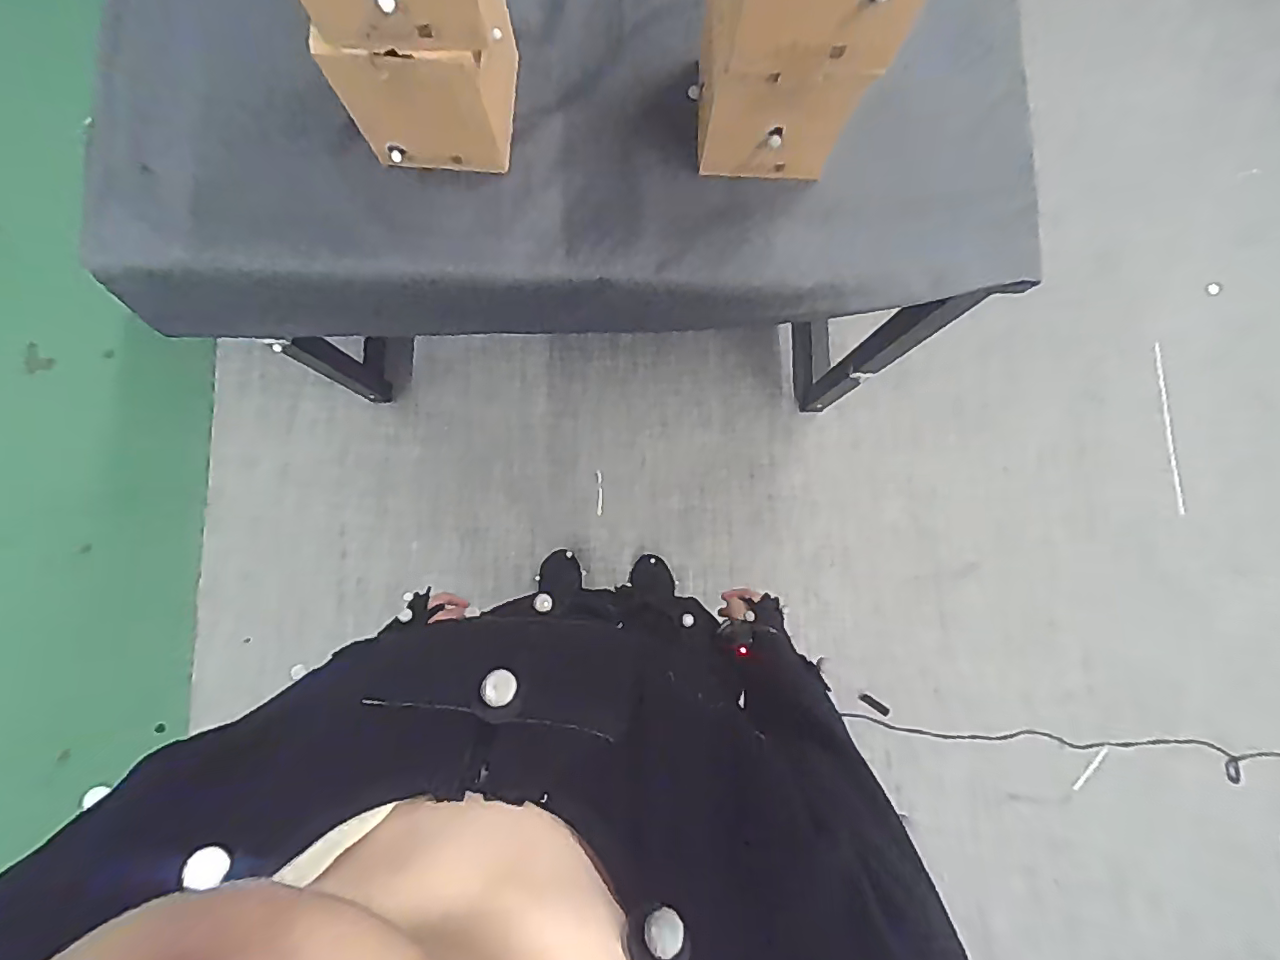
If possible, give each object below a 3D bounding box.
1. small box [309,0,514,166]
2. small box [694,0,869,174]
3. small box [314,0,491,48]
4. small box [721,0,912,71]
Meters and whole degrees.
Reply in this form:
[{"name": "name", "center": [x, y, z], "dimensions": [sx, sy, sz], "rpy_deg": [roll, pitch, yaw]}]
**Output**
[{"name": "small box", "center": [-0.249, -0.503, 0.633], "dimensions": [0.168, 0.176, 0.179], "rpy_deg": [3, 82, -2]}, {"name": "small box", "center": [0.158, -0.496, 0.644], "dimensions": [0.168, 0.176, 0.179], "rpy_deg": [1, 84, -2]}, {"name": "small box", "center": [-0.228, -0.531, 0.471], "dimensions": [0.168, 0.176, 0.179], "rpy_deg": [0, 83, -1]}, {"name": "small box", "center": [0.169, -0.510, 0.482], "dimensions": [0.168, 0.176, 0.179], "rpy_deg": [1, 82, -2]}]
